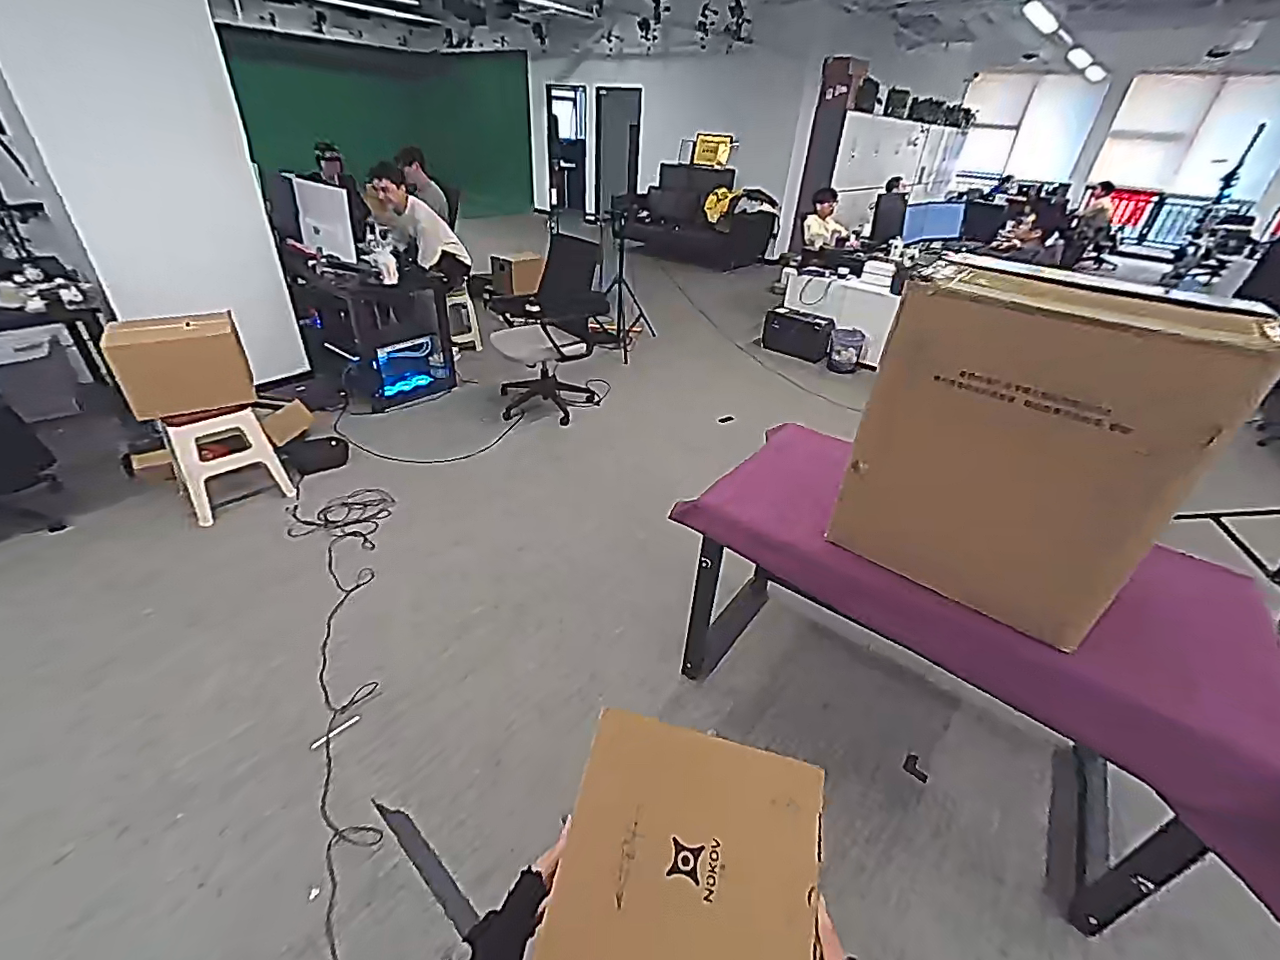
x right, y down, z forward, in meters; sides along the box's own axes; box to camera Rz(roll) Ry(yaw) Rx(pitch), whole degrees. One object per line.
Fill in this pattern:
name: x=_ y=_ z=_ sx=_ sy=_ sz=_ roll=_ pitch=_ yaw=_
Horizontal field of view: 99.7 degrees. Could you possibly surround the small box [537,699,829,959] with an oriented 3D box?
small box: x=0.035 y=0.299 z=0.428 sx=0.179 sy=0.176 sz=0.168 roll=12 pitch=52 yaw=6
